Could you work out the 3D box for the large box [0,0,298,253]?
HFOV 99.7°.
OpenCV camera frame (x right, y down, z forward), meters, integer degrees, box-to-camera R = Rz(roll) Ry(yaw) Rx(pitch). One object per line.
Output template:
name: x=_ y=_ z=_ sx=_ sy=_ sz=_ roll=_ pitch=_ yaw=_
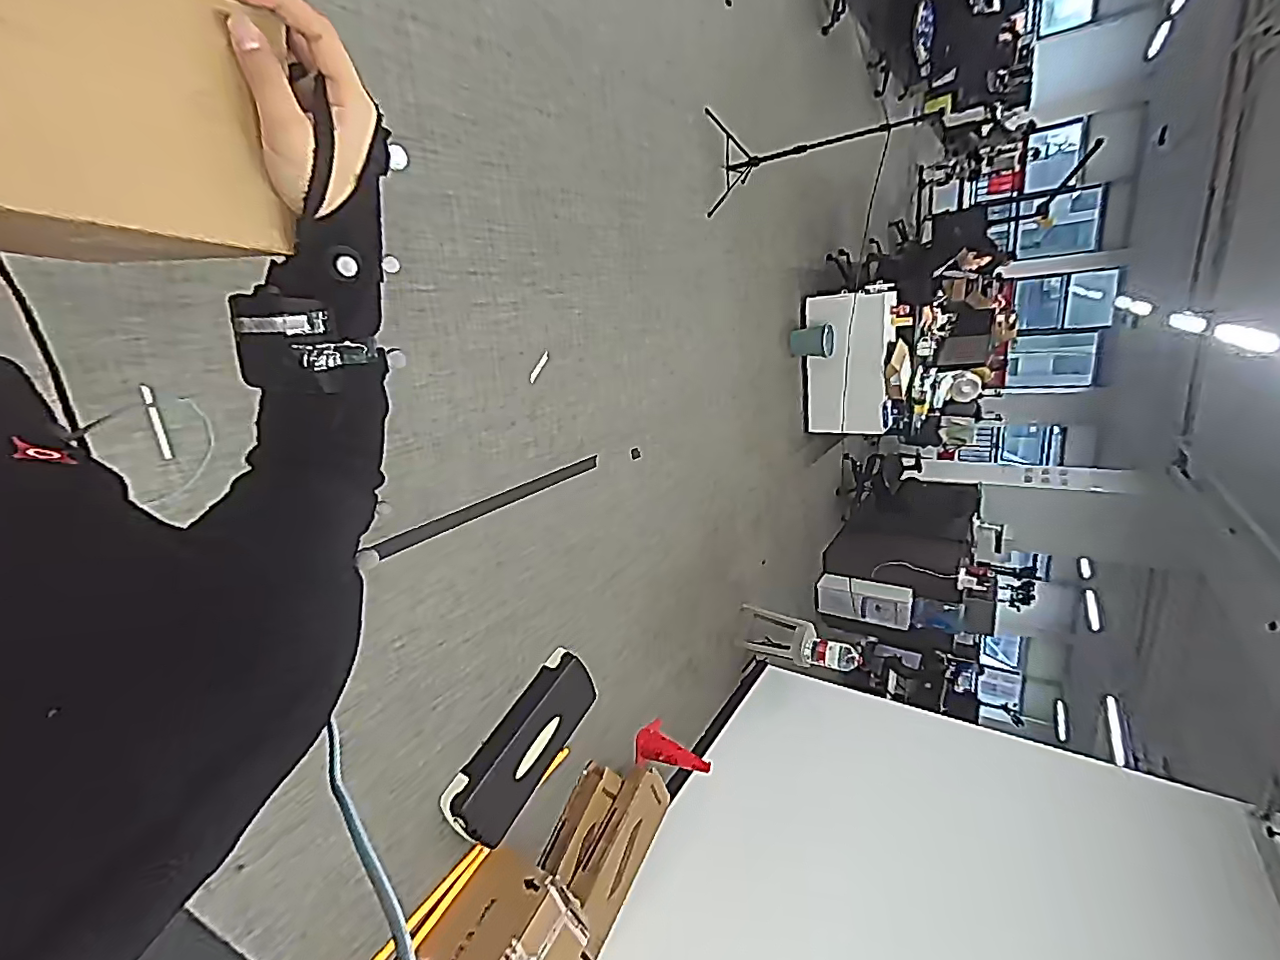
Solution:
large box: x=-0.437 y=-0.283 z=0.209 sx=0.408 sy=0.320 sz=0.320 roll=-21 pitch=119 yaw=-58
